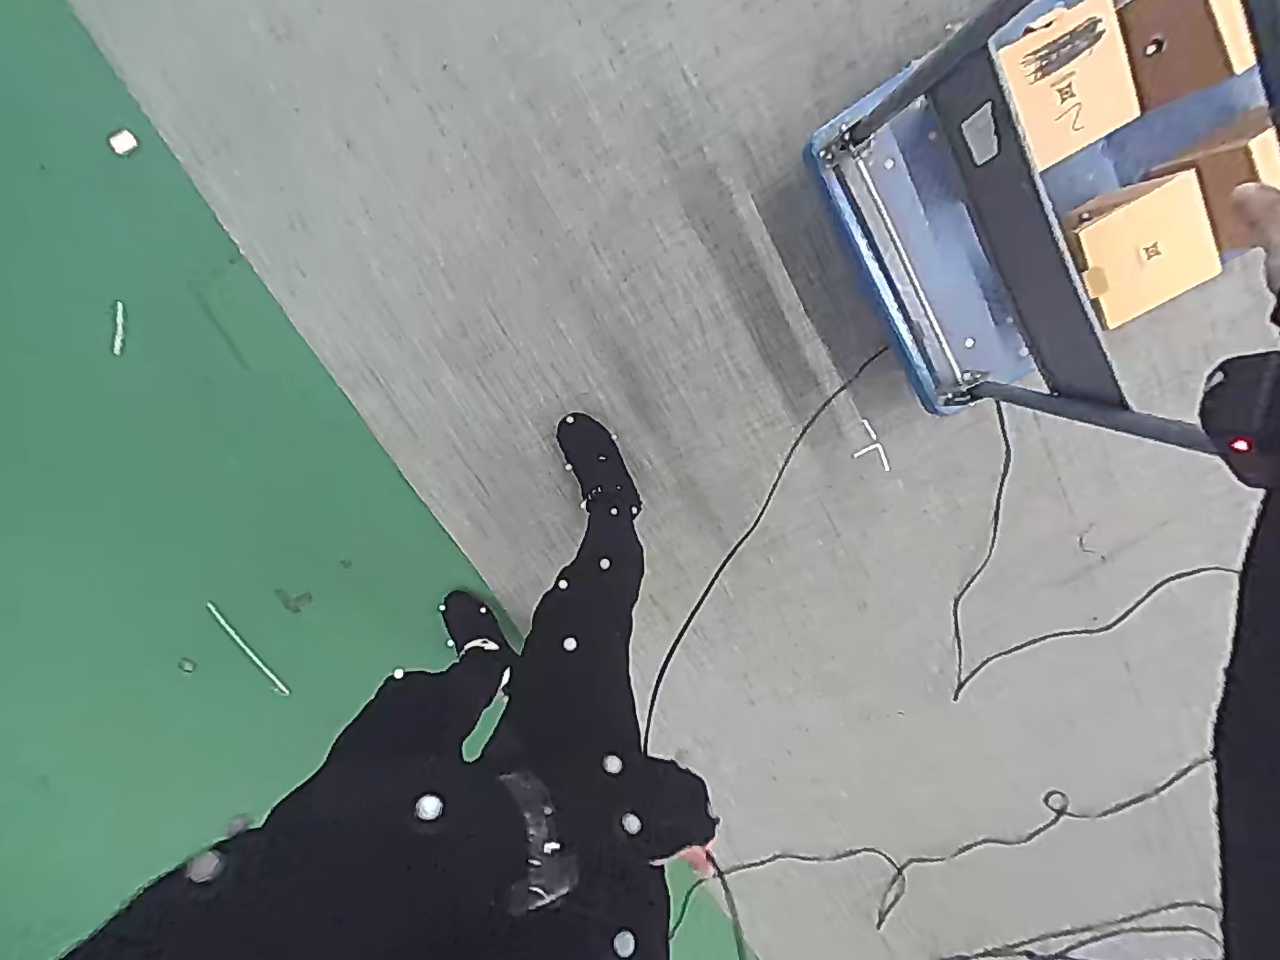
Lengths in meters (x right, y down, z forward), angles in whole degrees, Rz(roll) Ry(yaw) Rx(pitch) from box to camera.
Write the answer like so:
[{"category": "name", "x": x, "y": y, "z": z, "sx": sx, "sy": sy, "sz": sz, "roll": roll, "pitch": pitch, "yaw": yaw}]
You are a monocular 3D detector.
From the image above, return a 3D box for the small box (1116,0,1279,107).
[{"category": "small box", "x": 0.843, "y": -0.688, "z": 0.776, "sx": 0.179, "sy": 0.176, "sz": 0.168, "roll": -34, "pitch": 104, "yaw": 11}]

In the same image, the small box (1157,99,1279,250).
[{"category": "small box", "x": 0.978, "y": -0.480, "z": 0.836, "sx": 0.179, "sy": 0.176, "sz": 0.168, "roll": -32, "pitch": 103, "yaw": 11}]

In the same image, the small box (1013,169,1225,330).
[{"category": "small box", "x": 0.763, "y": -0.363, "z": 0.878, "sx": 0.179, "sy": 0.176, "sz": 0.168, "roll": -29, "pitch": 104, "yaw": 10}]
